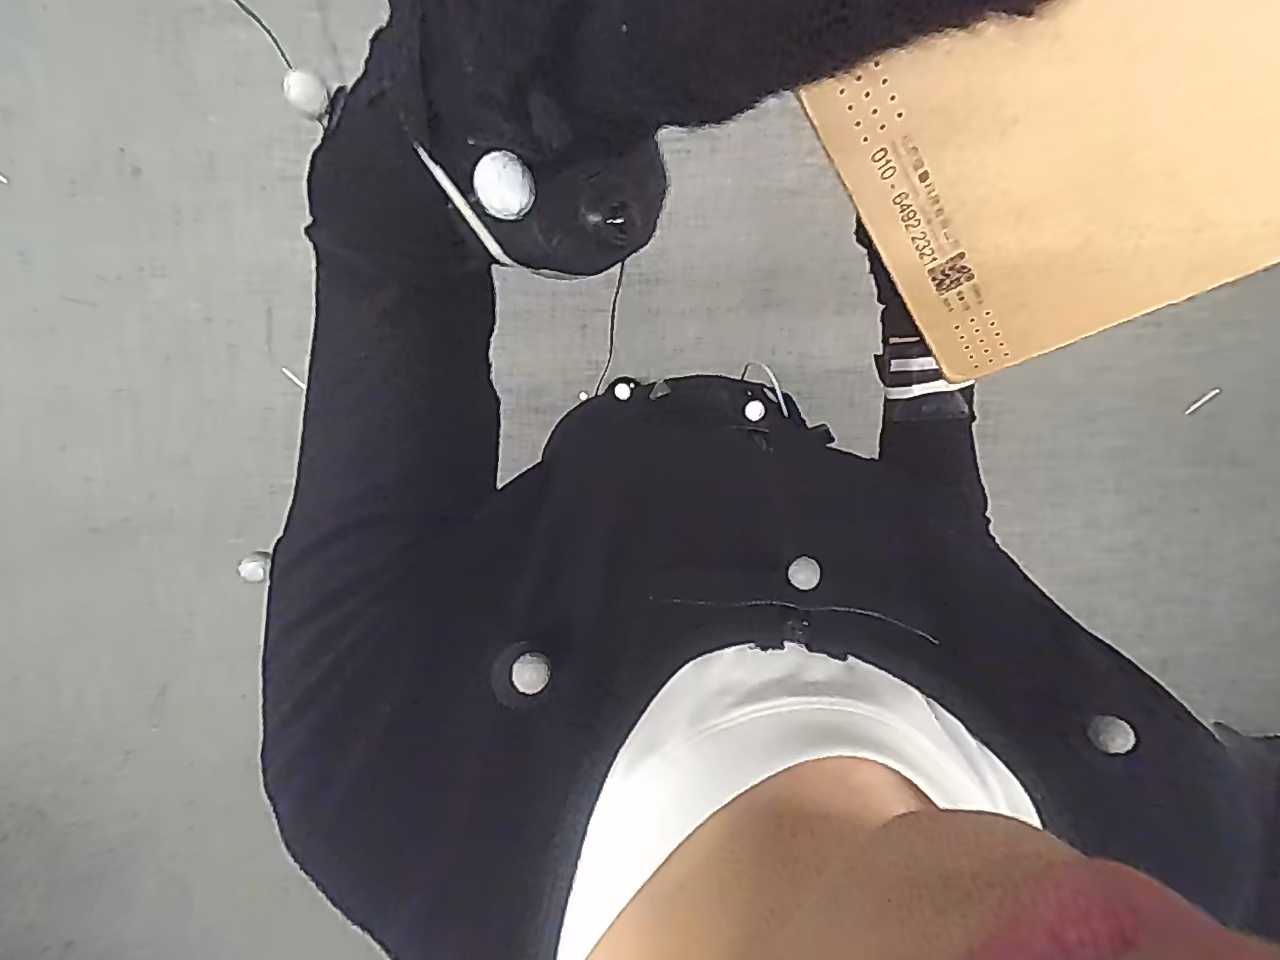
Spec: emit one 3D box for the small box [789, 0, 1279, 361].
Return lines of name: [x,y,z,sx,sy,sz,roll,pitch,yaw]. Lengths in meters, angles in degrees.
small box: [0.183,-0.191,0.251,0.176,0.179,0.168,-24,124,36]
